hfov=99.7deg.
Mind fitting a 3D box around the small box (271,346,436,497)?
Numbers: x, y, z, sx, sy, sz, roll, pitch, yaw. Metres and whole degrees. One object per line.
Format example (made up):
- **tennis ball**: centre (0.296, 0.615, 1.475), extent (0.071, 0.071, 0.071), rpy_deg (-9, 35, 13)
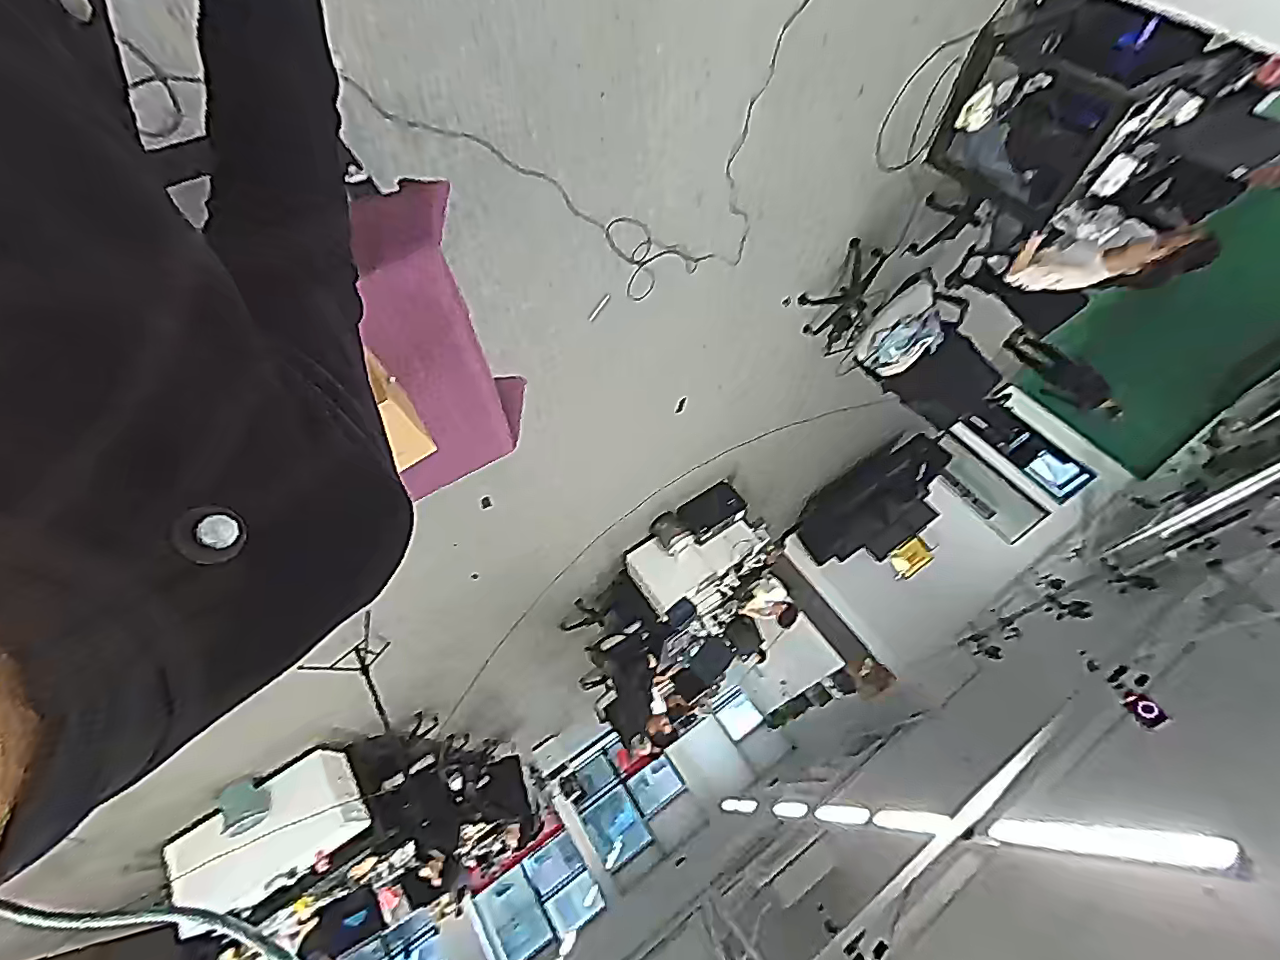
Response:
- **small box**: centre (-0.497, -0.107, 0.944), extent (0.168, 0.176, 0.179), rpy_deg (-33, 155, -10)
